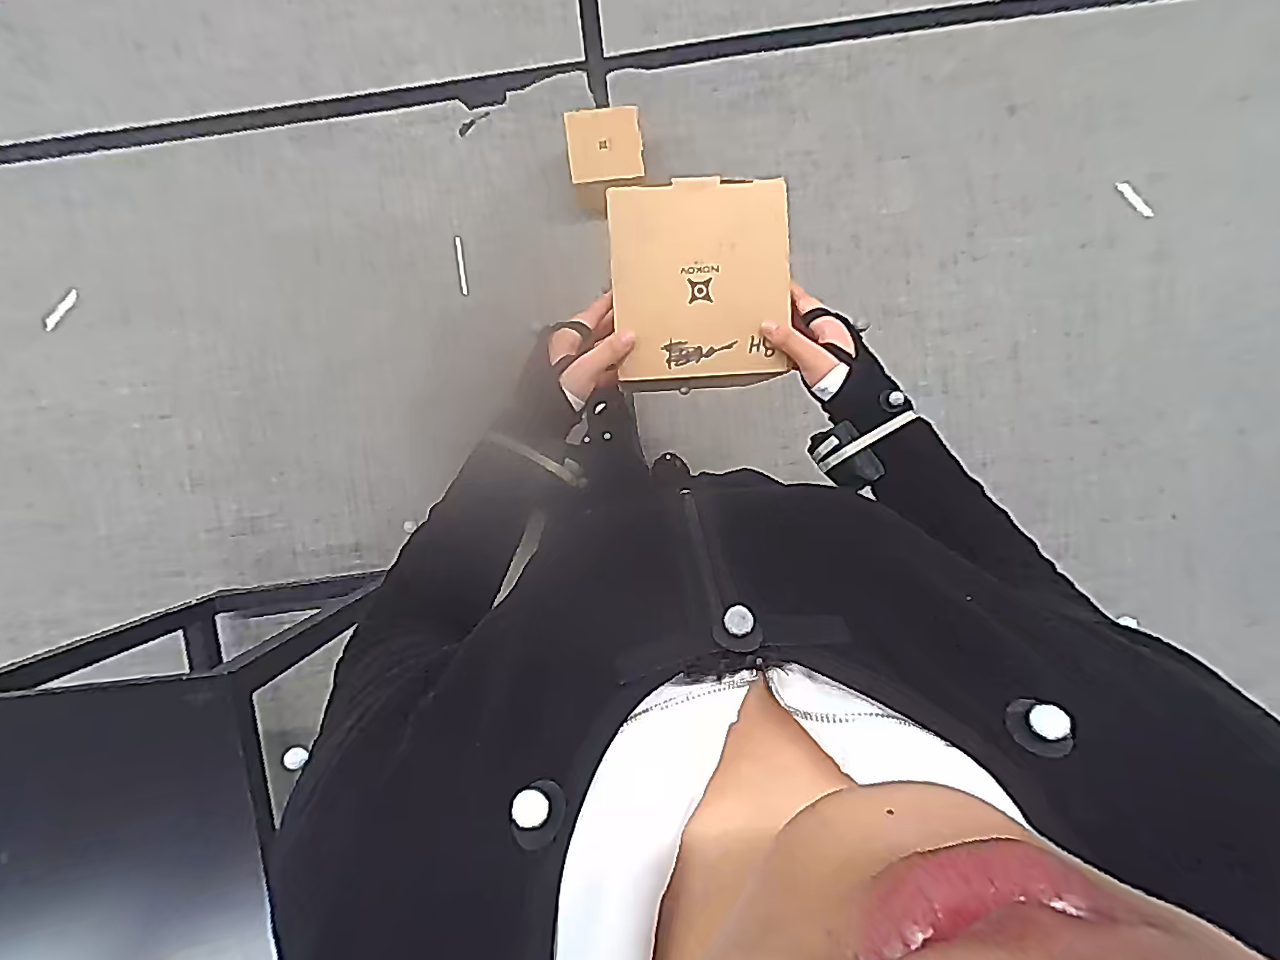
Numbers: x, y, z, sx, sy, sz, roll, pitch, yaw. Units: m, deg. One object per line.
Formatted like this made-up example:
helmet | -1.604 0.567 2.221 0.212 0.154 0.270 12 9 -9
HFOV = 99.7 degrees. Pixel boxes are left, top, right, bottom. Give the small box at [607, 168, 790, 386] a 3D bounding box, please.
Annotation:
small box | 0.053 -0.199 0.575 0.168 0.176 0.179 -4 96 1

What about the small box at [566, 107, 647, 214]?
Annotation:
small box | -0.079 -0.792 1.356 0.179 0.176 0.168 -7 93 1
